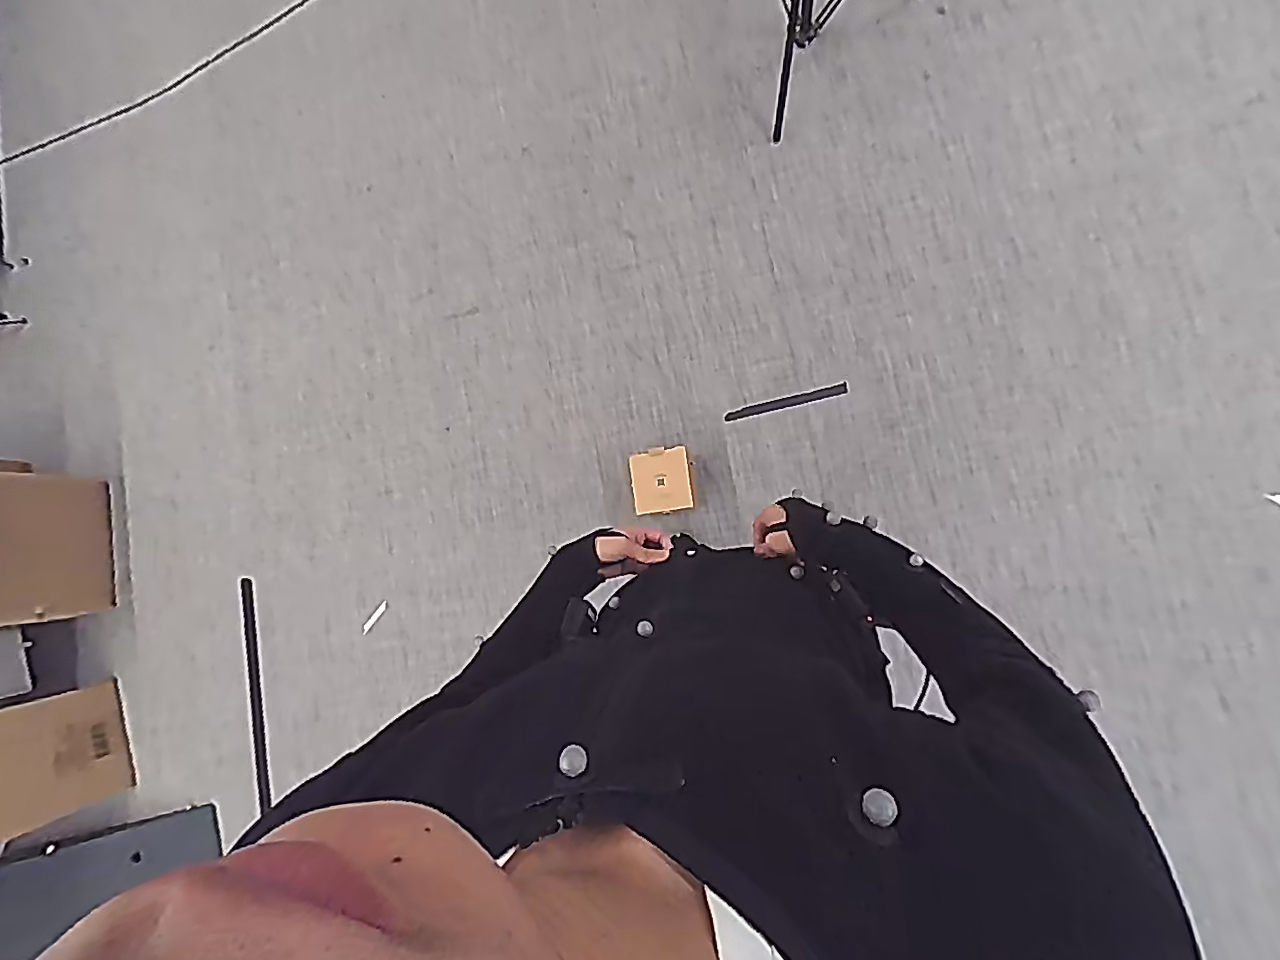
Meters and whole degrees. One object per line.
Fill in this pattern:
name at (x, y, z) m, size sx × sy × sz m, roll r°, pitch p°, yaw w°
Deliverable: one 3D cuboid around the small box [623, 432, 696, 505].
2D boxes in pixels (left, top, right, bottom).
small box at (0.058, -0.026, 1.524) m, size 0.168 × 0.176 × 0.179 m, roll -9°, pitch 84°, yaw 13°
